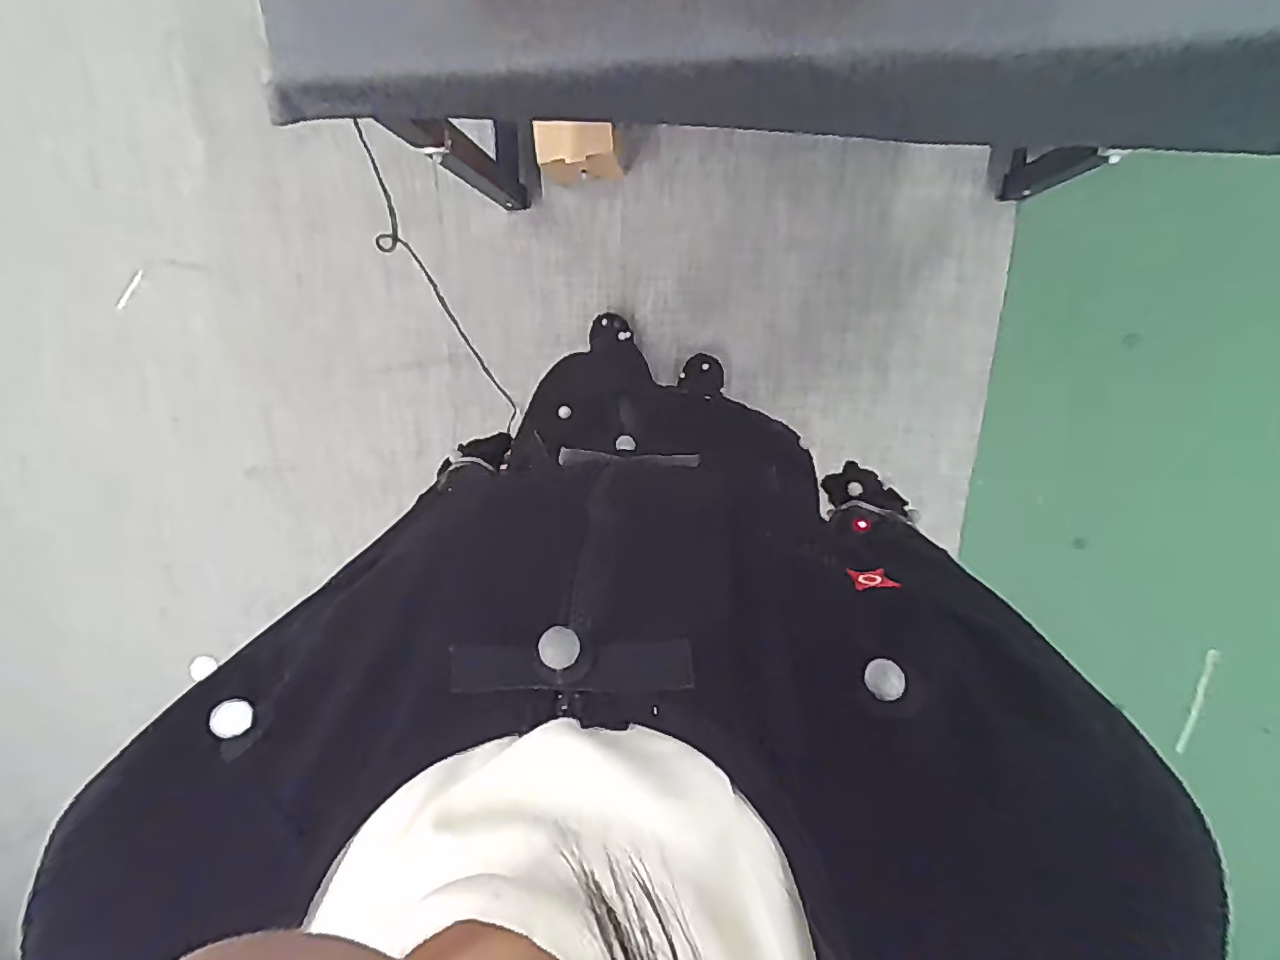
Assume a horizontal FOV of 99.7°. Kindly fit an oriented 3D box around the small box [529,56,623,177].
[{"bbox_3d":[-0.131,-0.779,1.180,0.168,0.176,0.179,-3,105,6],"label":"small box"}]
